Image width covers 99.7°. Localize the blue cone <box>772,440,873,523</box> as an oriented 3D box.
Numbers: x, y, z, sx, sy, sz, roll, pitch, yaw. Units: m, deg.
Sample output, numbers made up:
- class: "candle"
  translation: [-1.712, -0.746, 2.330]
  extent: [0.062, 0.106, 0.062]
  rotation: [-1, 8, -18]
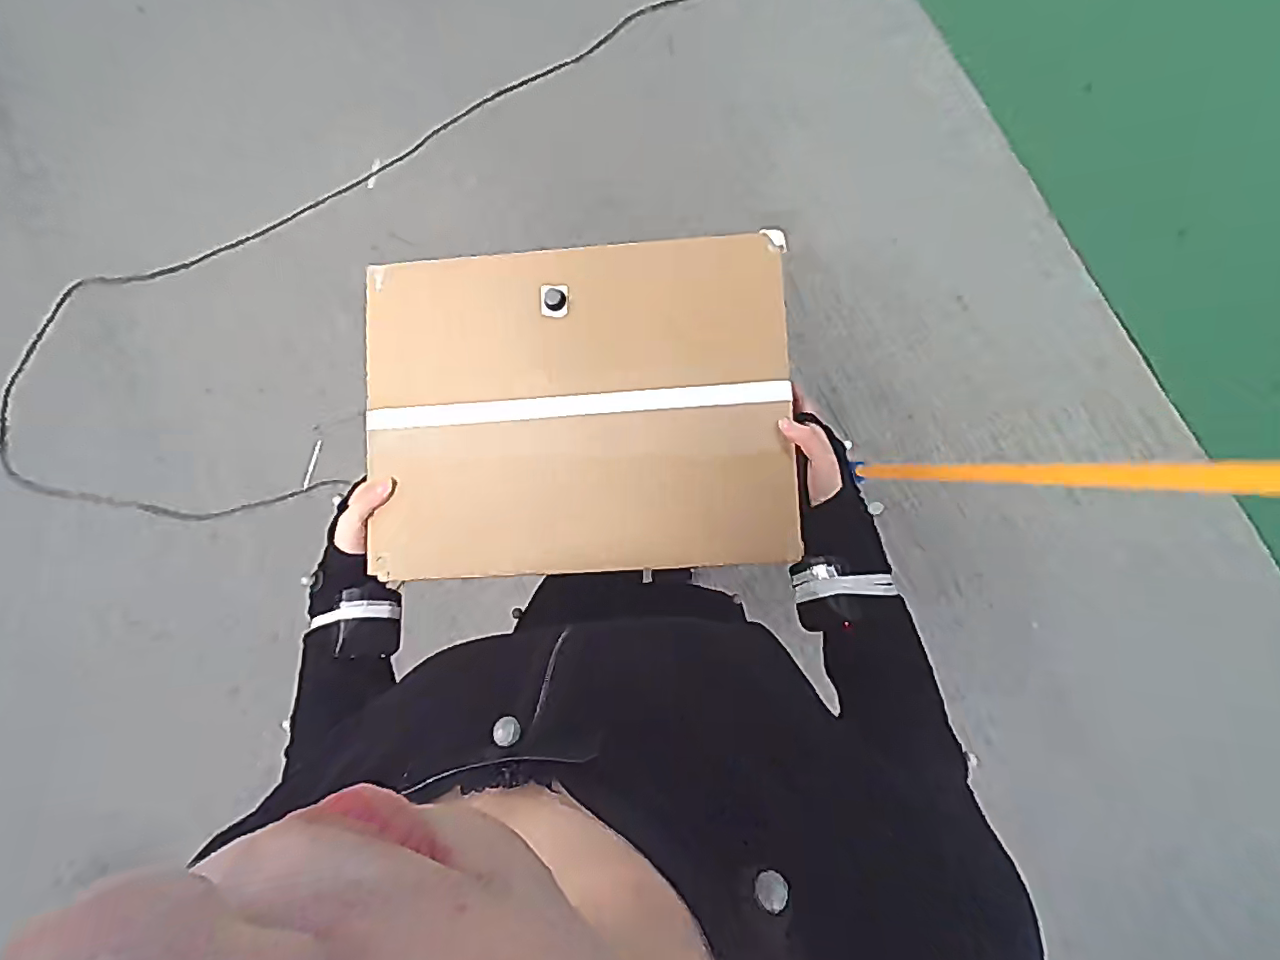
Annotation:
- class: "blue cone"
  translation: [0.482, -0.006, 1.318]
  extent: [0.192, 0.380, 0.193]
  rotation: [-30, 87, 0]
